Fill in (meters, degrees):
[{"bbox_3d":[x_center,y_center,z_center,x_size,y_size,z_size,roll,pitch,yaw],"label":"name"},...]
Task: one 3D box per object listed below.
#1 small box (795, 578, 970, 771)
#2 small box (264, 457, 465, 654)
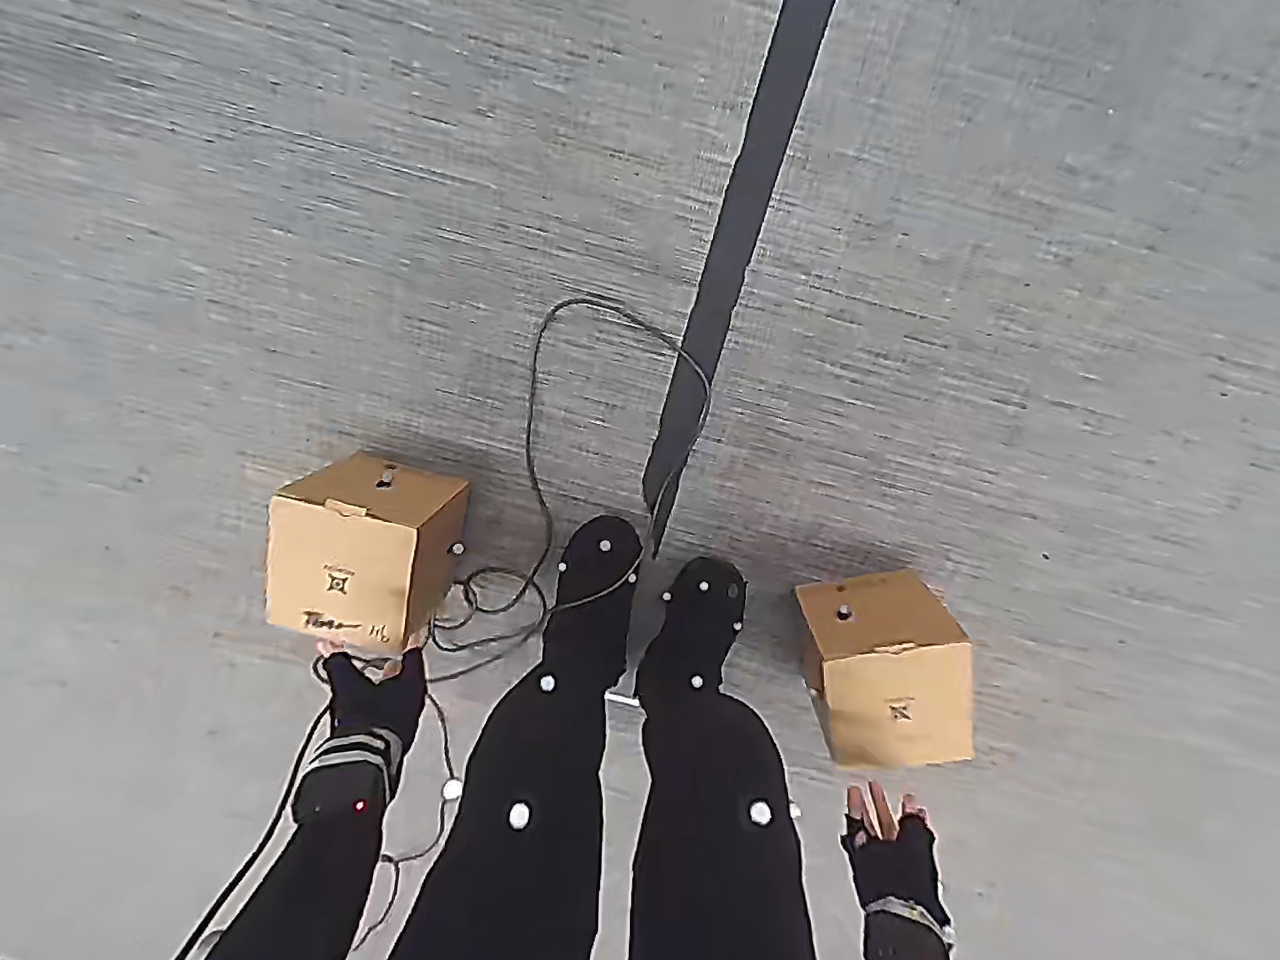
[{"bbox_3d":[0.308,0.243,0.710,0.168,0.176,0.179,-10,110,9],"label":"small box"},{"bbox_3d":[-0.339,0.084,0.693,0.168,0.176,0.179,15,108,-2],"label":"small box"}]
